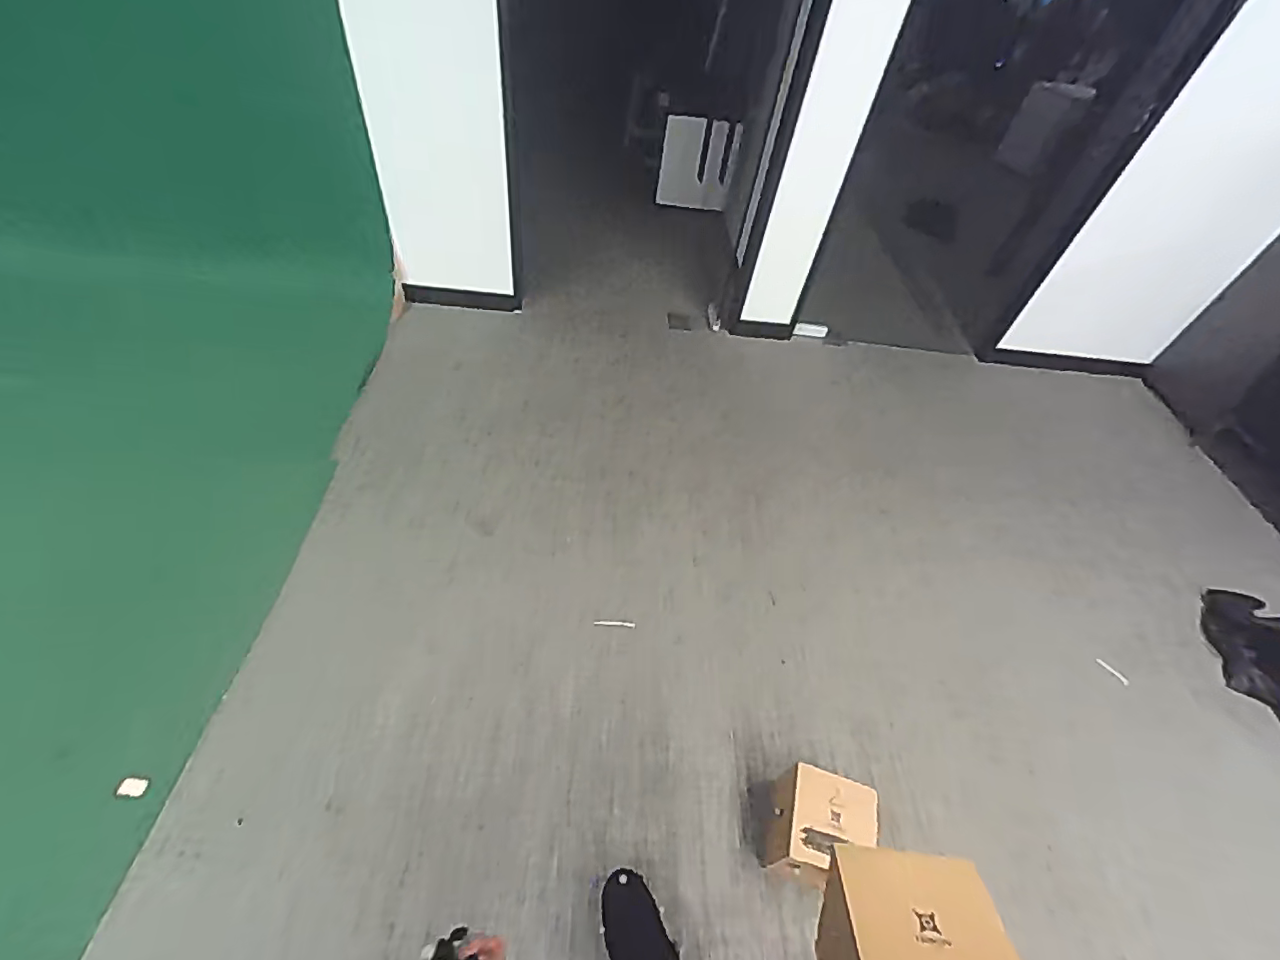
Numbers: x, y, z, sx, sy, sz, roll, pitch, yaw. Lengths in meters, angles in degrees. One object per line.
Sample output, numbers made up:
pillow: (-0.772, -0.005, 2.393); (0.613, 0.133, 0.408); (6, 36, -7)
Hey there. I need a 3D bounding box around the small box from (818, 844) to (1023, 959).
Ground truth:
small box: (0.297, 0.544, 0.579); (0.168, 0.176, 0.179); (4, 17, 6)
